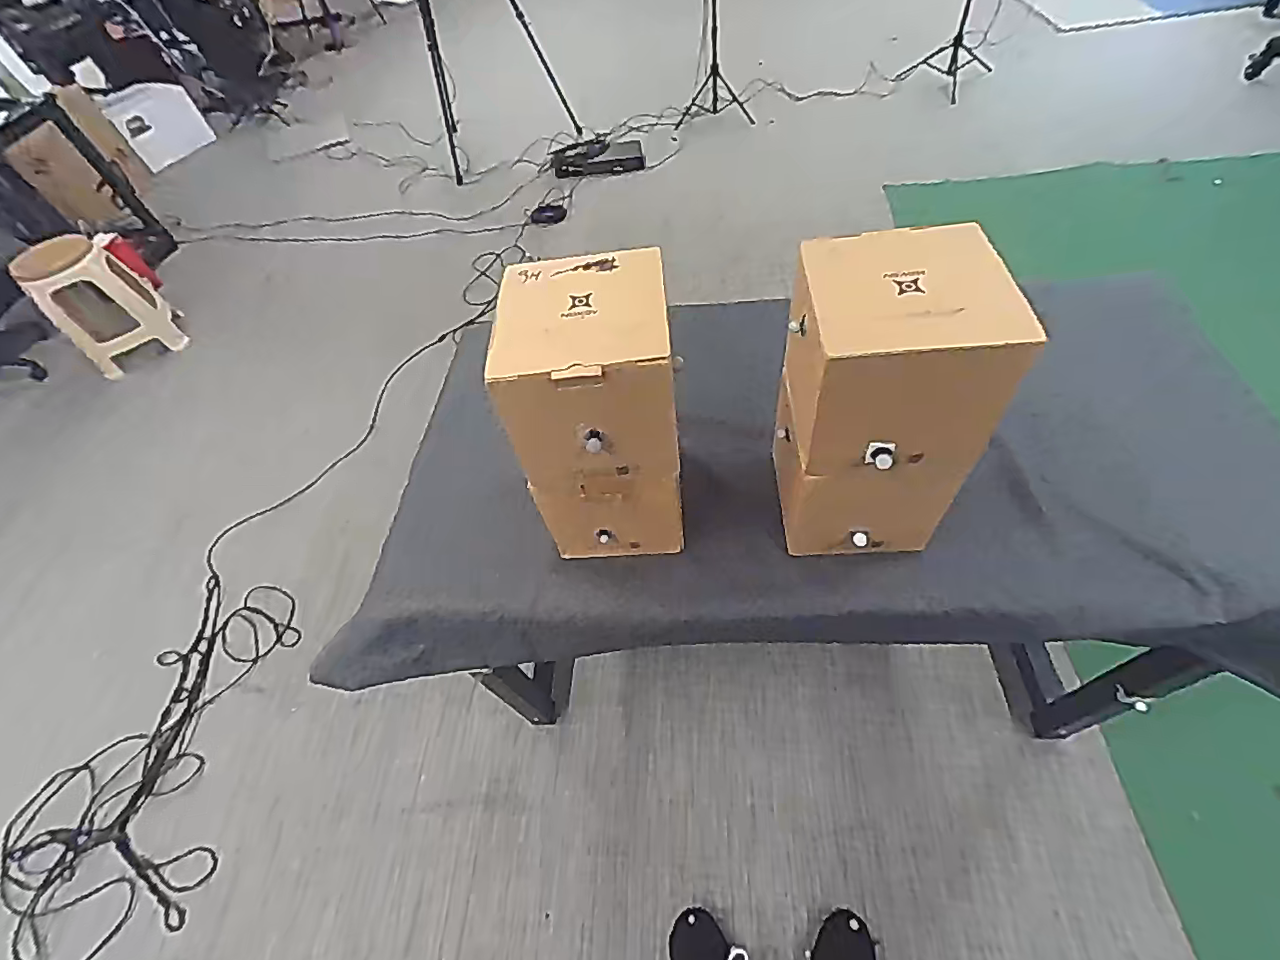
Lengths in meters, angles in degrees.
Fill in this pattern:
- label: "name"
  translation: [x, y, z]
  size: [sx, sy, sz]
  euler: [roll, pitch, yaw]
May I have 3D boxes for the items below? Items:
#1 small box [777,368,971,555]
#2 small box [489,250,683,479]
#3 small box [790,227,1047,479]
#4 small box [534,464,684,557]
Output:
- label: "small box"
  translation: [0.266, -0.025, 0.667]
  size: [0.168, 0.176, 0.179]
  euler: [-3, 53, 7]
- label: "small box"
  translation: [-0.044, -0.113, 0.578]
  size: [0.168, 0.176, 0.179]
  euler: [-5, 54, 4]
- label: "small box"
  translation: [0.247, -0.121, 0.538]
  size: [0.168, 0.176, 0.179]
  euler: [-3, 53, 8]
- label: "small box"
  translation: [-0.030, -0.018, 0.711]
  size: [0.168, 0.176, 0.179]
  euler: [-4, 53, 5]
